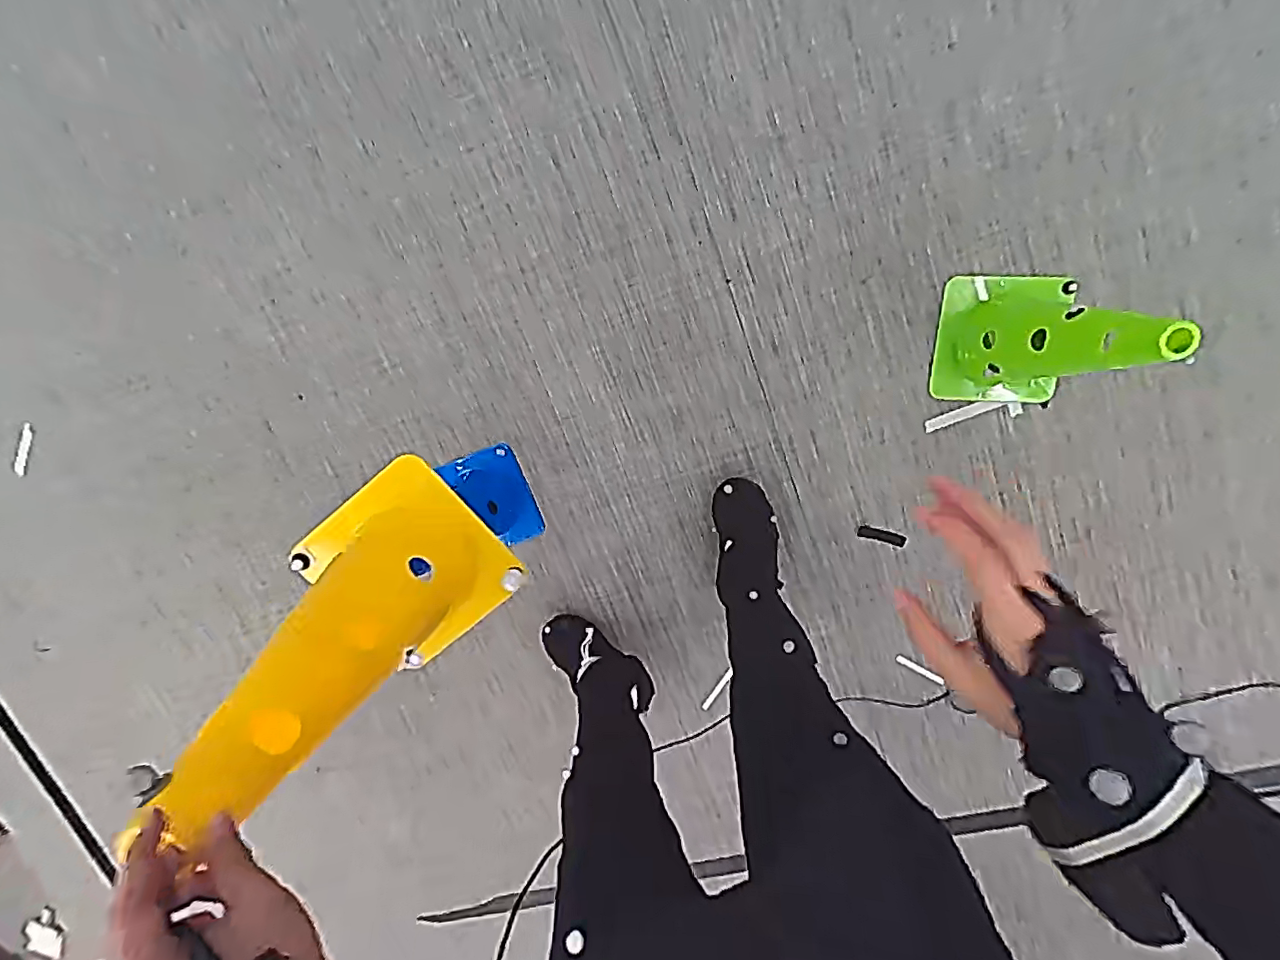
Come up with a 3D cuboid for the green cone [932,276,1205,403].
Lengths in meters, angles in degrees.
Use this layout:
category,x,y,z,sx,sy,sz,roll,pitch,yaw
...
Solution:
category,x,y,z,sx,sy,sz,roll,pitch,yaw
green cone,0.576,-0.183,0.725,0.200,0.368,0.202,3,106,7
